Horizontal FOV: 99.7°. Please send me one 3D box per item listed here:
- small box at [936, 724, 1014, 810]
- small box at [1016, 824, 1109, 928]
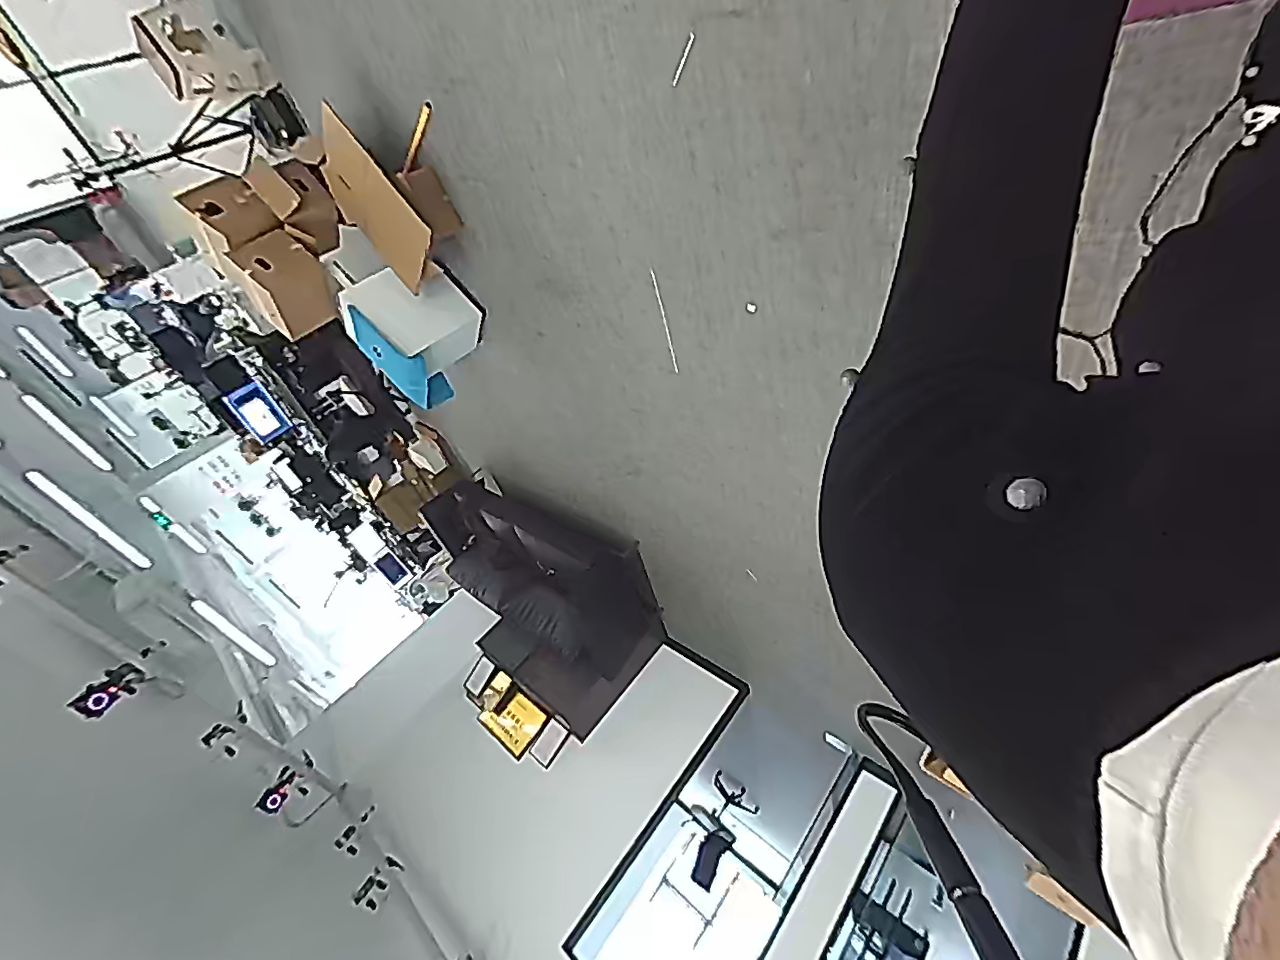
[{"bbox_3d":[1.157,0.987,1.866,0.168,0.176,0.179,27,144,33],"label":"small box"},{"bbox_3d":[1.265,1.183,1.620,0.168,0.176,0.179,23,143,36],"label":"small box"}]
